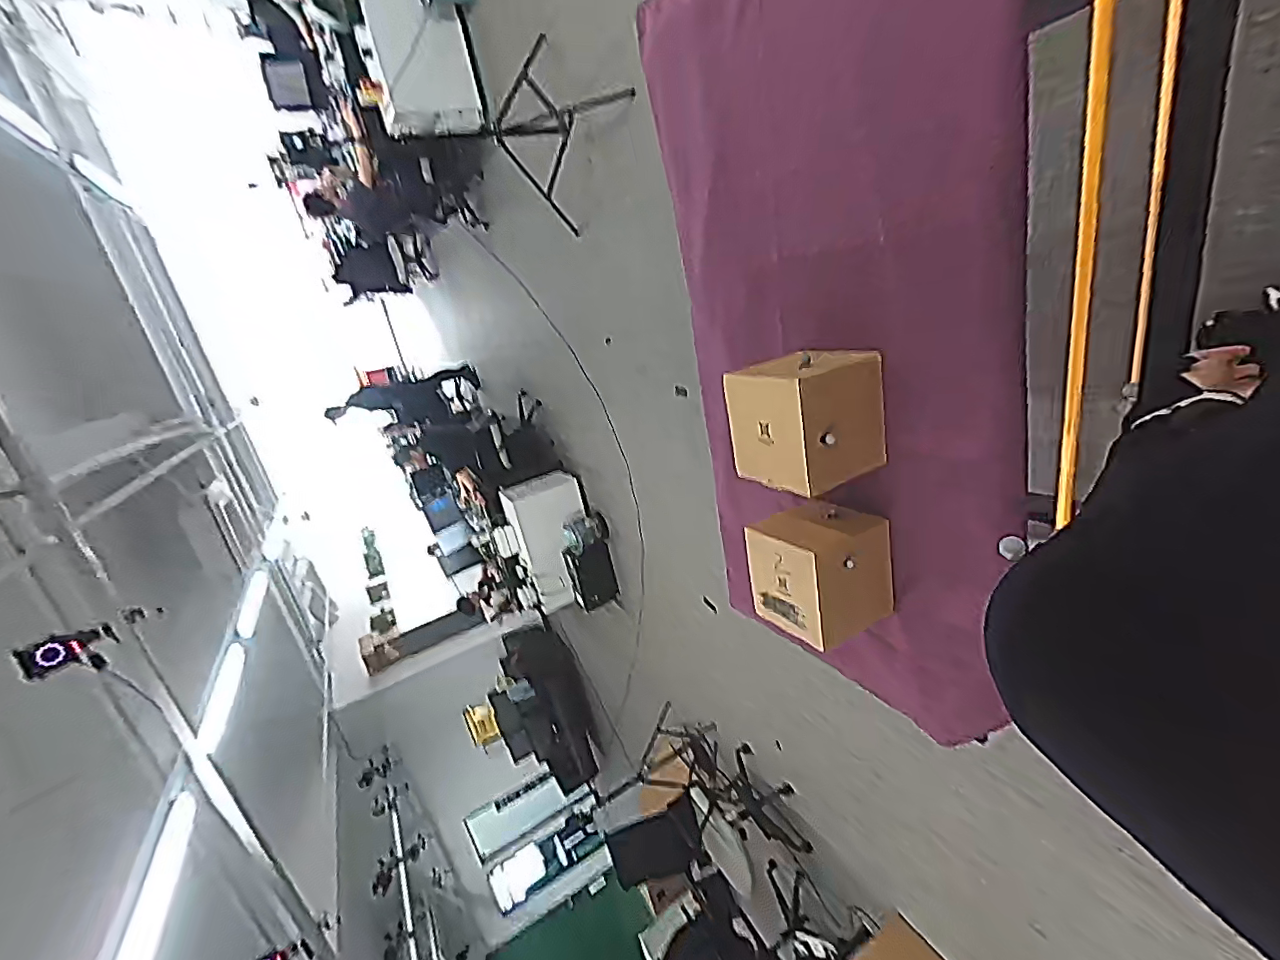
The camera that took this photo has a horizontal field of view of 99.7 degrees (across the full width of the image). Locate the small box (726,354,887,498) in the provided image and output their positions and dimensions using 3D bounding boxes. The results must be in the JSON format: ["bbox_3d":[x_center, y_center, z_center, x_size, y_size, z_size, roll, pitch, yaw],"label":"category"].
[{"bbox_3d":[0.261,-0.096,0.845,0.168,0.176,0.179,23,130,59],"label":"small box"}]
